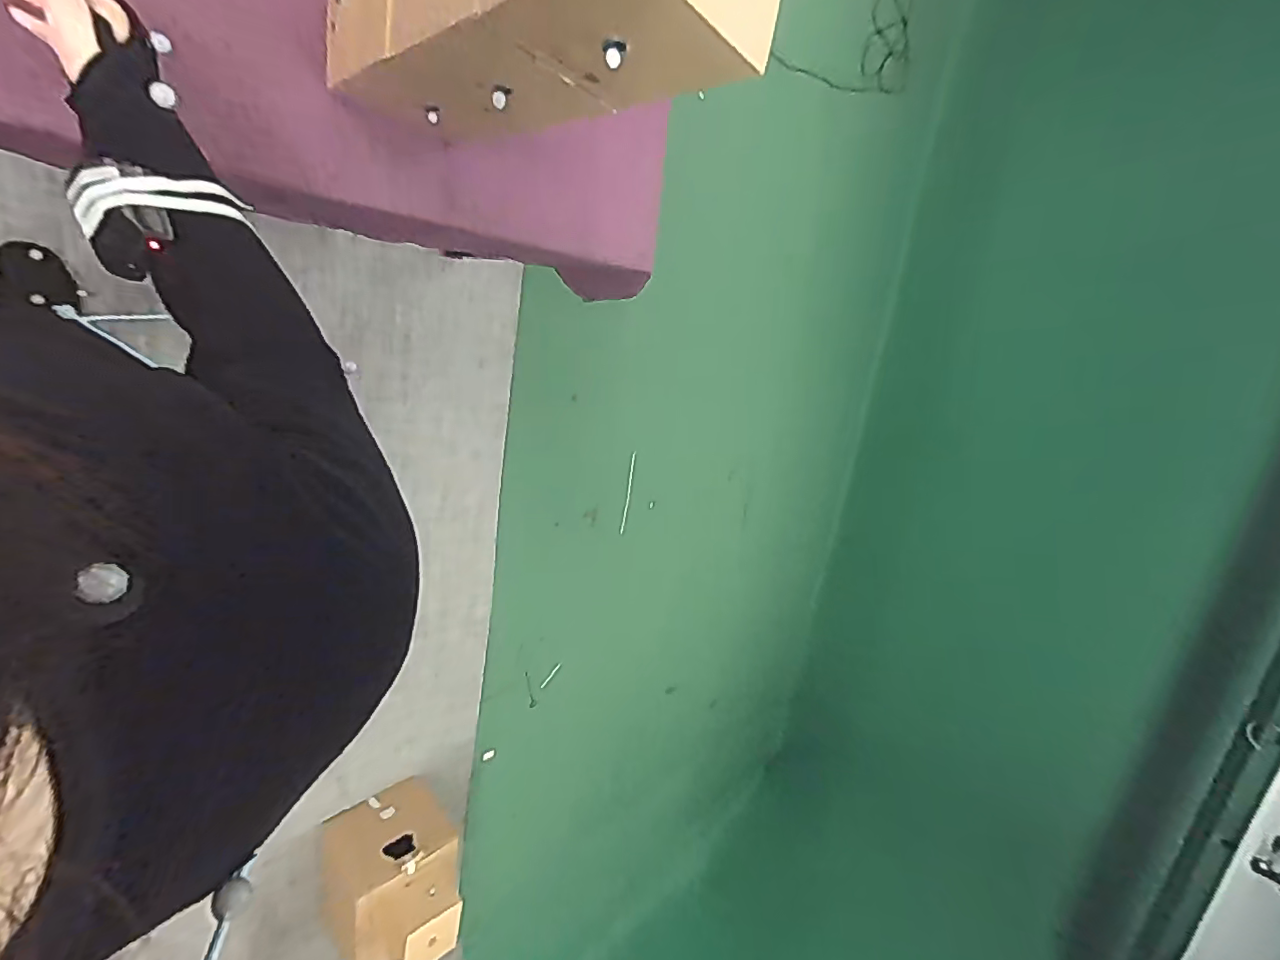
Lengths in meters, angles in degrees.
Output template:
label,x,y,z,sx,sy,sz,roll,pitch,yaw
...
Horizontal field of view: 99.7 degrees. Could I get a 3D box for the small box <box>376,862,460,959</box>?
label,x,y,z,sx,sy,sz,roll,pitch,yaw
small box,-0.654,1.272,1.584,0.168,0.176,0.179,-3,110,-48

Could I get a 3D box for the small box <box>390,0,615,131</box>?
label,x,y,z,sx,sy,sz,roll,pitch,yaw
small box,-0.122,-0.470,0.522,0.168,0.176,0.179,-2,108,-49

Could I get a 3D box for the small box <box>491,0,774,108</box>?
label,x,y,z,sx,sy,sz,roll,pitch,yaw
small box,-0.003,-0.424,0.416,0.168,0.176,0.179,-4,108,-48

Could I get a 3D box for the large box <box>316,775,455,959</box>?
label,x,y,z,sx,sy,sz,roll,pitch,yaw
large box,-0.836,1.285,1.771,0.320,0.320,0.408,-8,113,-48
